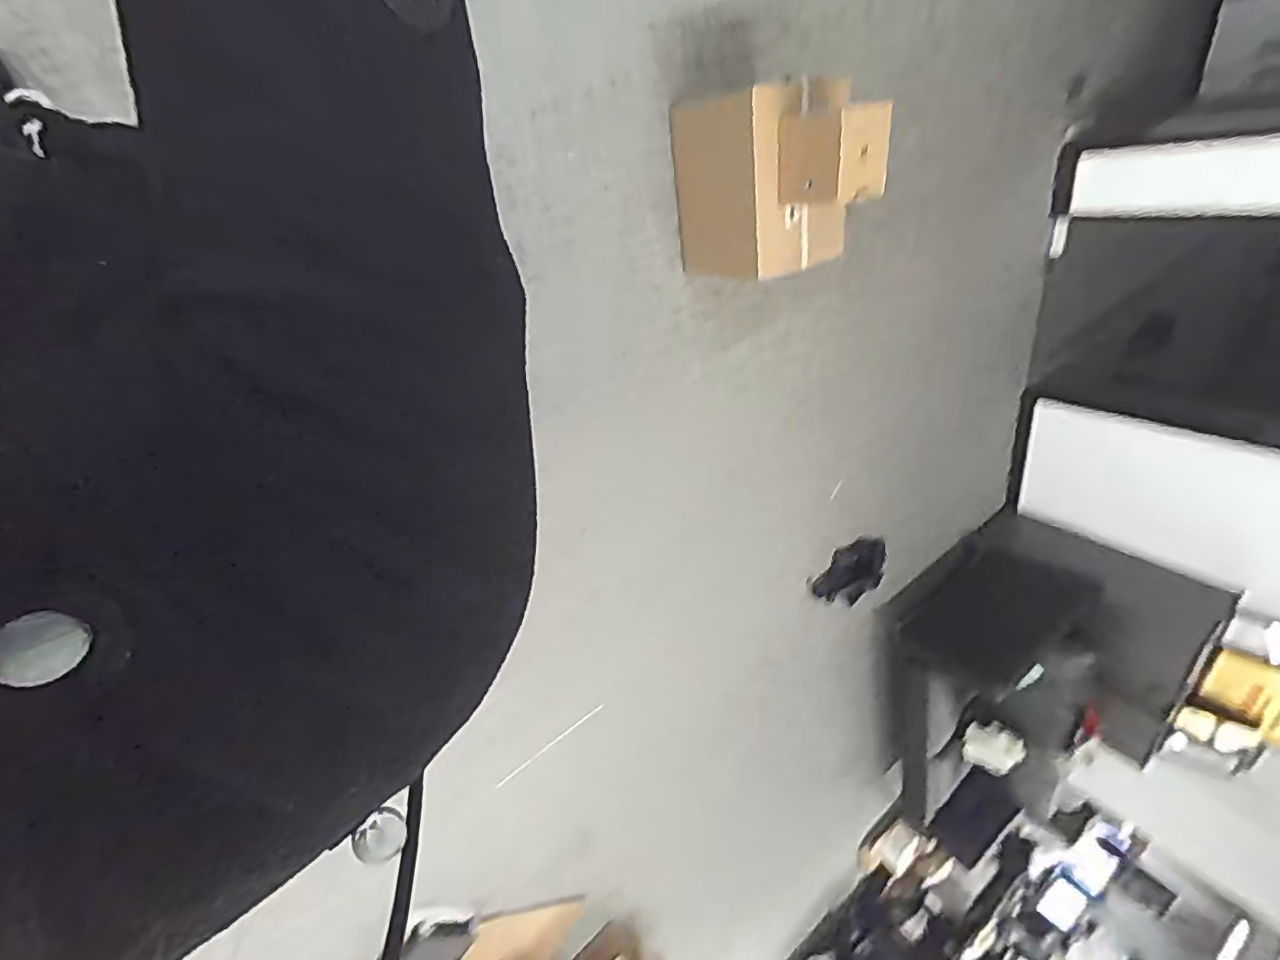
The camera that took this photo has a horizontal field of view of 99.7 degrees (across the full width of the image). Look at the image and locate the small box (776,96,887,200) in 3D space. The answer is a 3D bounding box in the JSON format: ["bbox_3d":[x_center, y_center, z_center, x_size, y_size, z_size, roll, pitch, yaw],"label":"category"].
[{"bbox_3d":[0.418,-0.731,1.203,0.168,0.176,0.179,-26,124,-25],"label":"small box"}]

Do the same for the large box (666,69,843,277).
[{"bbox_3d":[0.297,-0.787,1.411,0.320,0.320,0.408,-25,125,-23],"label":"large box"}]
